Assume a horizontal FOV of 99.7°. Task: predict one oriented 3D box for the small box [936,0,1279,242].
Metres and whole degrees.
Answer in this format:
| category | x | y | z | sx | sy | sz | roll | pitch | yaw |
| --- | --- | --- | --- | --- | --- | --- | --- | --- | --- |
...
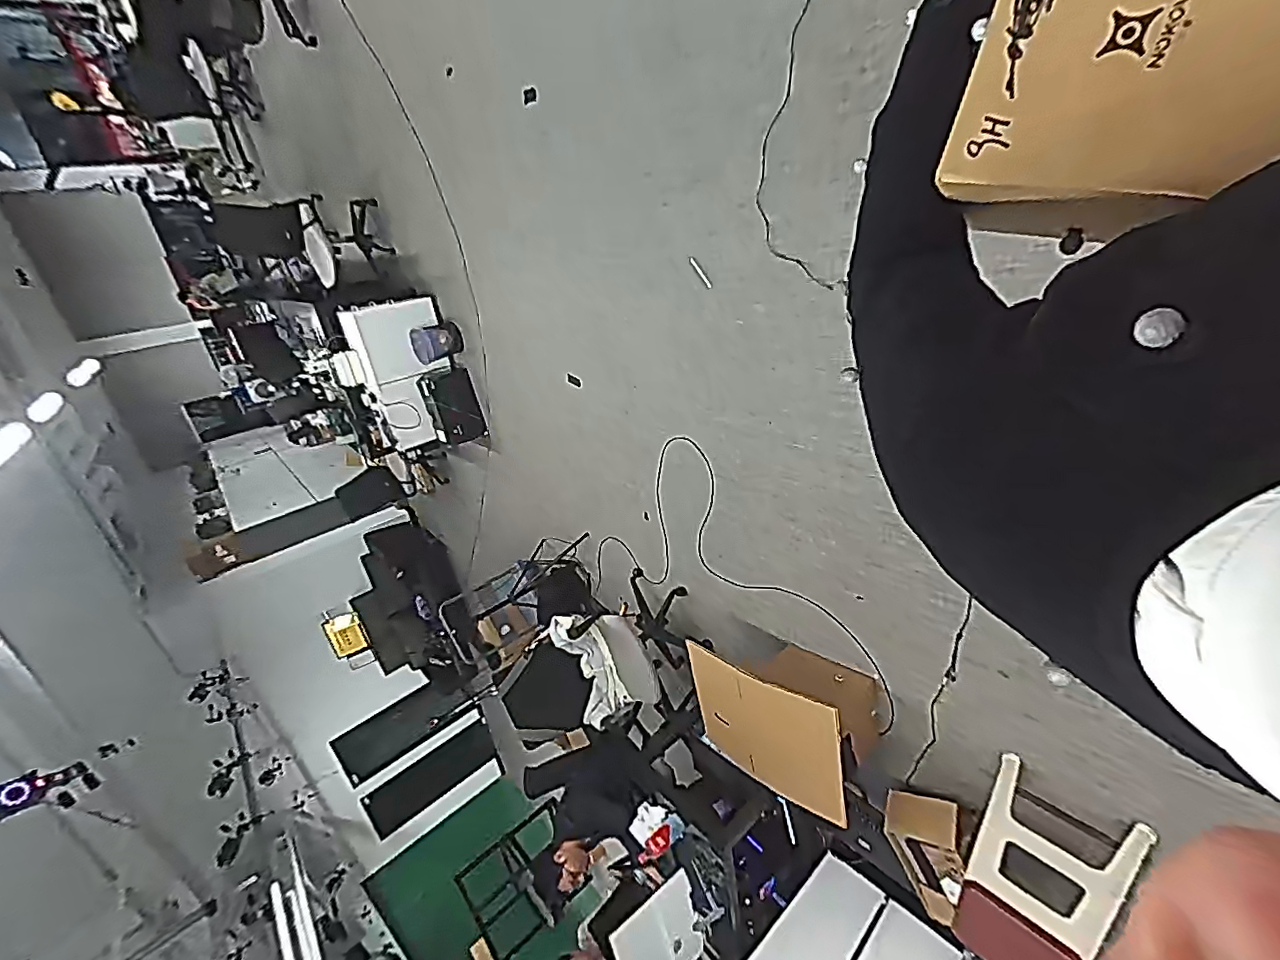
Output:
| category | x | y | z | sx | sy | sz | roll | pitch | yaw |
| --- | --- | --- | --- | --- | --- | --- | --- | --- | --- |
| small box | 0.343 | -0.274 | 0.378 | 0.179 | 0.176 | 0.168 | 25 | 114 | 33 |
